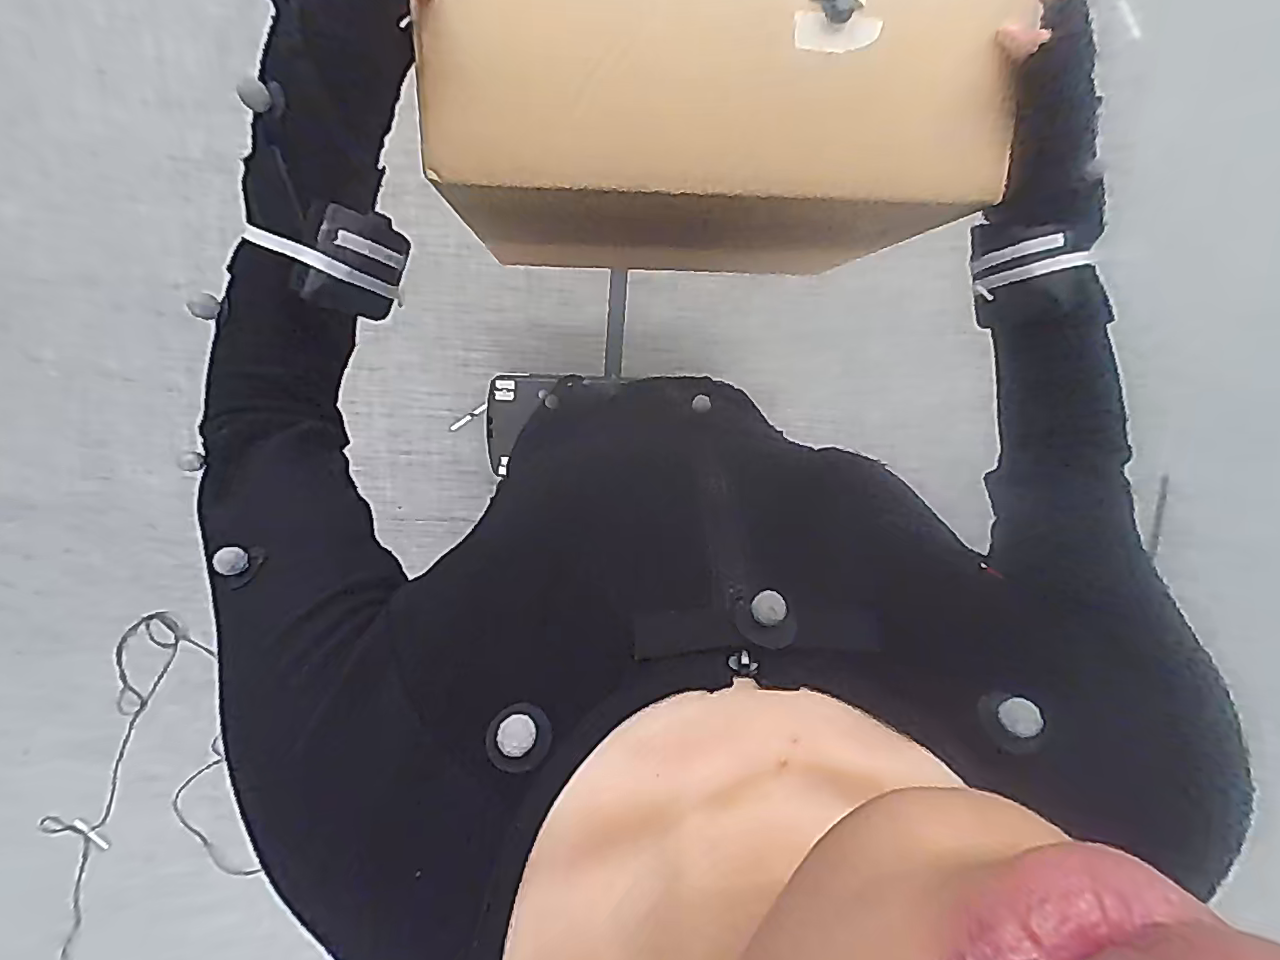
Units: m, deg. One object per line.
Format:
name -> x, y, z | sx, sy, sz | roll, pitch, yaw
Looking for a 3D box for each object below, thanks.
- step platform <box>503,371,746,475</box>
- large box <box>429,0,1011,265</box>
step platform -> -0.043, -0.164, 1.551 | 0.684, 0.204, 0.286 | 0, 100, -4
large box -> 0.044, -0.389, 0.497 | 0.408, 0.320, 0.320 | -1, 103, -6
